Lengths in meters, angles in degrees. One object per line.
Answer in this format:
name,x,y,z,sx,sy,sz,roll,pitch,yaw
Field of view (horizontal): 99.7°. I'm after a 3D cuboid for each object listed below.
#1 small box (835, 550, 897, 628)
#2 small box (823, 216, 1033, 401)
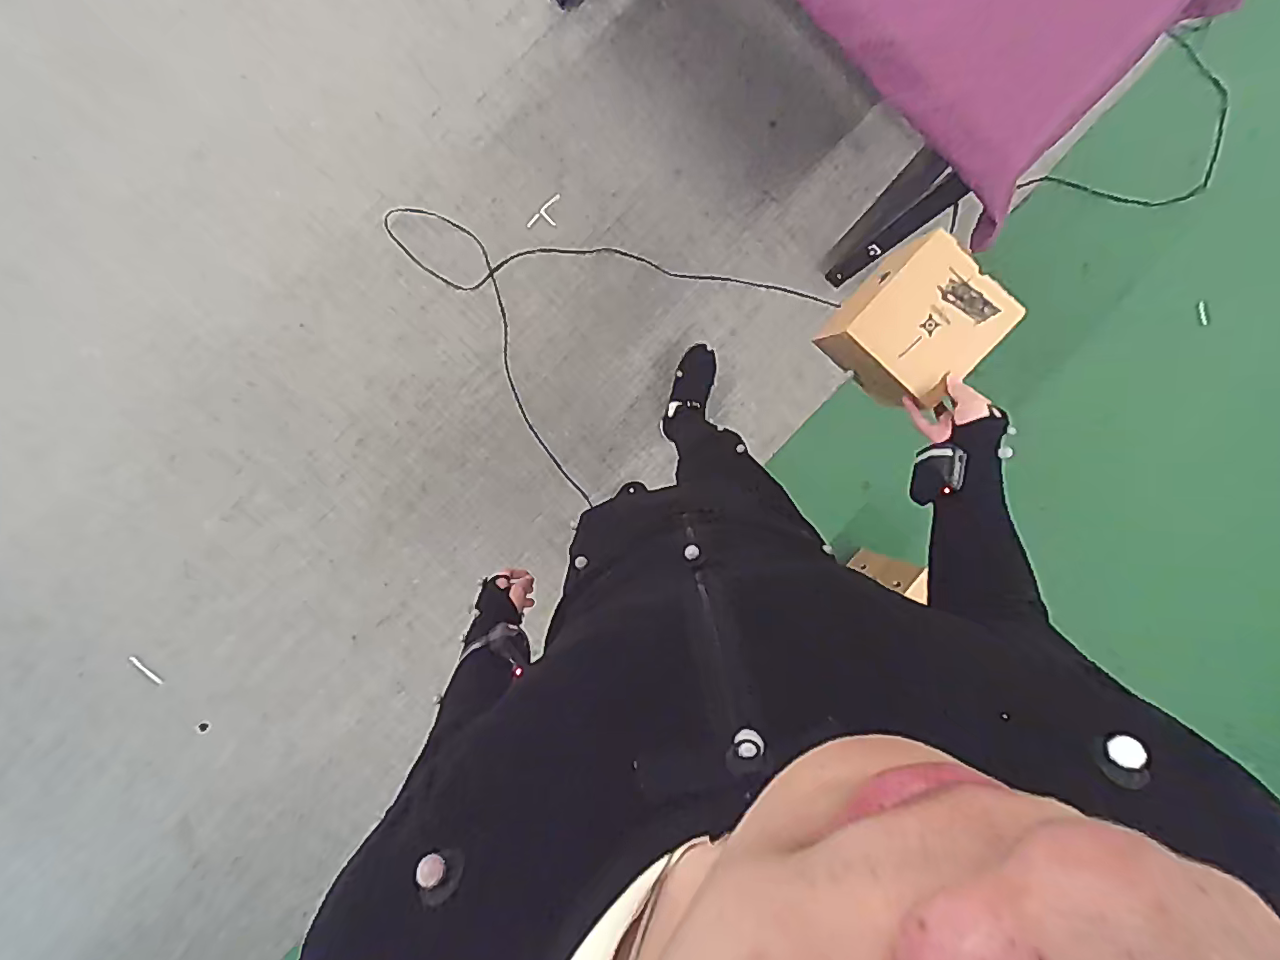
small box,0.720,0.325,1.610,0.179,0.176,0.168,43,89,-6
small box,0.396,-0.235,0.781,0.168,0.176,0.179,41,100,-4
